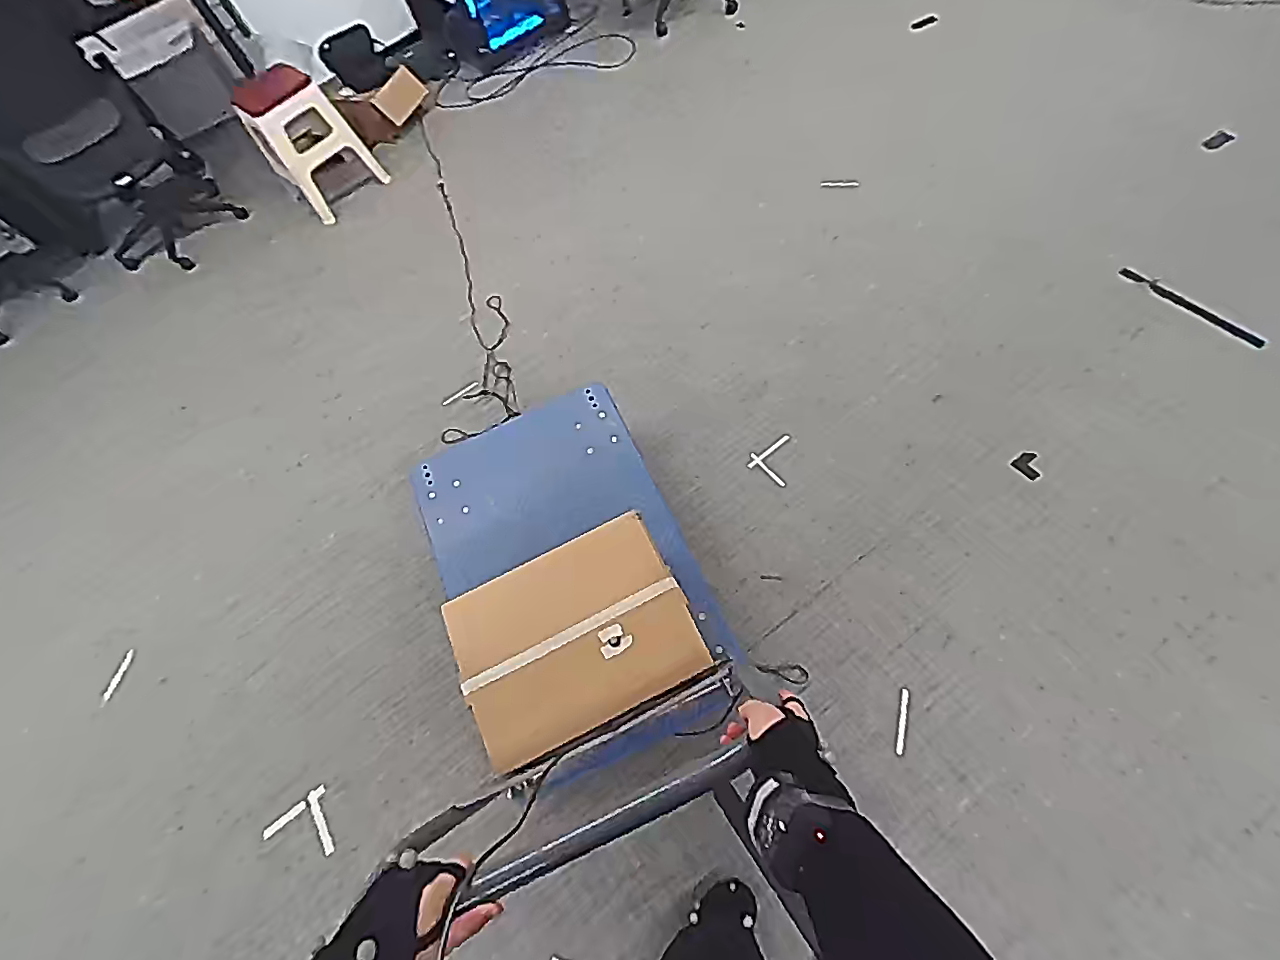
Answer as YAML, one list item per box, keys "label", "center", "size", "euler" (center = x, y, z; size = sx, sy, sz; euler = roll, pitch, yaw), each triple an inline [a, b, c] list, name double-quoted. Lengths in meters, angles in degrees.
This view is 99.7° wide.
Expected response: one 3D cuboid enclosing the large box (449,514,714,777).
- label: "large box"
  center: [-0.098, 0.333, 1.093]
  size: [0.408, 0.320, 0.320]
  euler: [-27, 69, -4]
